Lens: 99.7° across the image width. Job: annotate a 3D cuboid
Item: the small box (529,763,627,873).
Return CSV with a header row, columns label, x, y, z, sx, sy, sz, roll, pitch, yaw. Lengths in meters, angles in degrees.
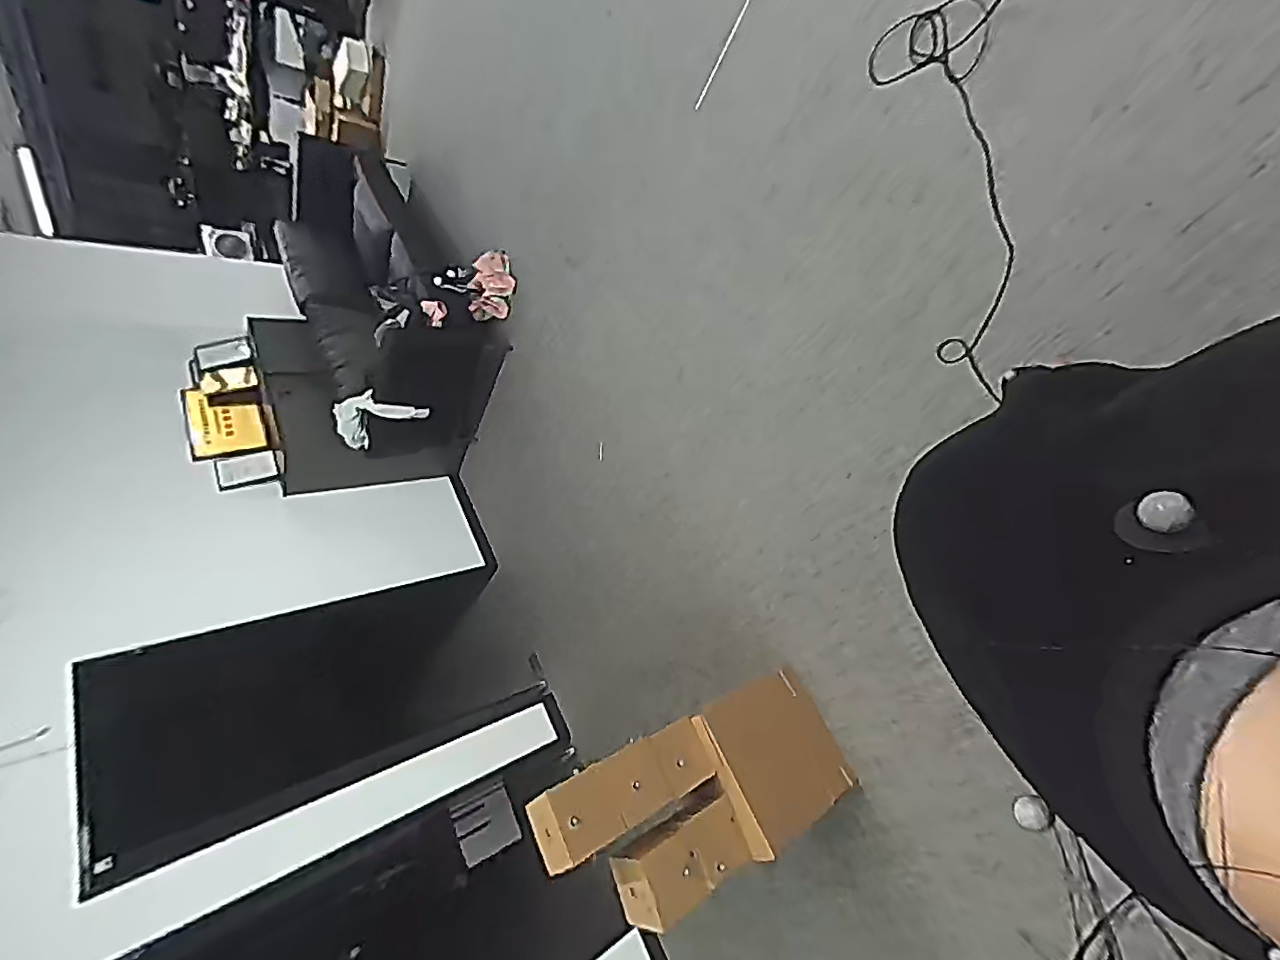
label,x,y,z,sx,sy,sz,roll,pitch,yaw
small box,-0.161,0.878,1.412,0.168,0.176,0.179,-53,57,40
